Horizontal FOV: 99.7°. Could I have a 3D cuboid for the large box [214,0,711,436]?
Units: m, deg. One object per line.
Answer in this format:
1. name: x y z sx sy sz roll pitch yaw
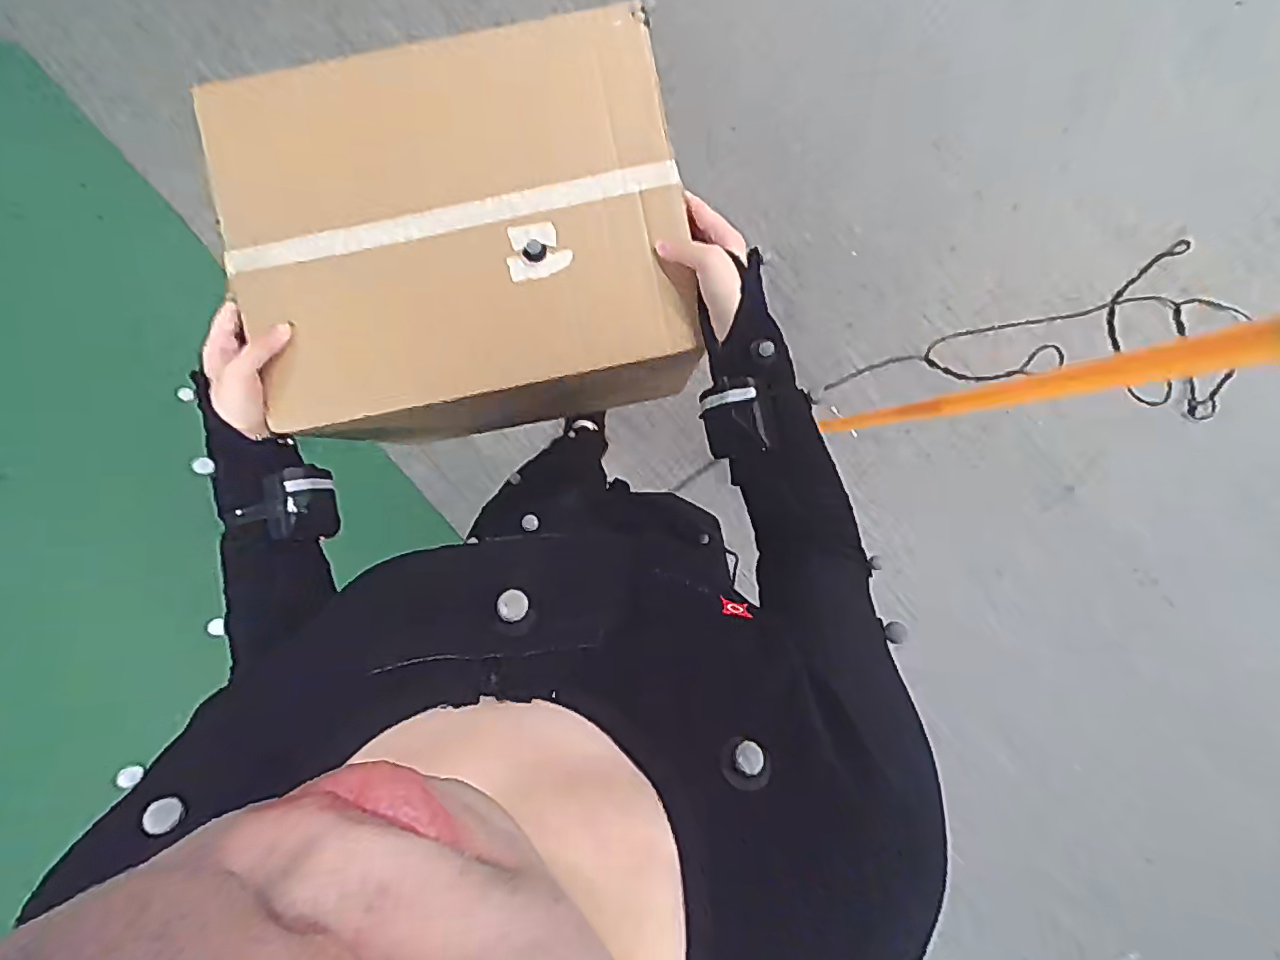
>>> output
1. large box: -0.163 -0.250 0.637 0.408 0.320 0.320 -11 92 -2
